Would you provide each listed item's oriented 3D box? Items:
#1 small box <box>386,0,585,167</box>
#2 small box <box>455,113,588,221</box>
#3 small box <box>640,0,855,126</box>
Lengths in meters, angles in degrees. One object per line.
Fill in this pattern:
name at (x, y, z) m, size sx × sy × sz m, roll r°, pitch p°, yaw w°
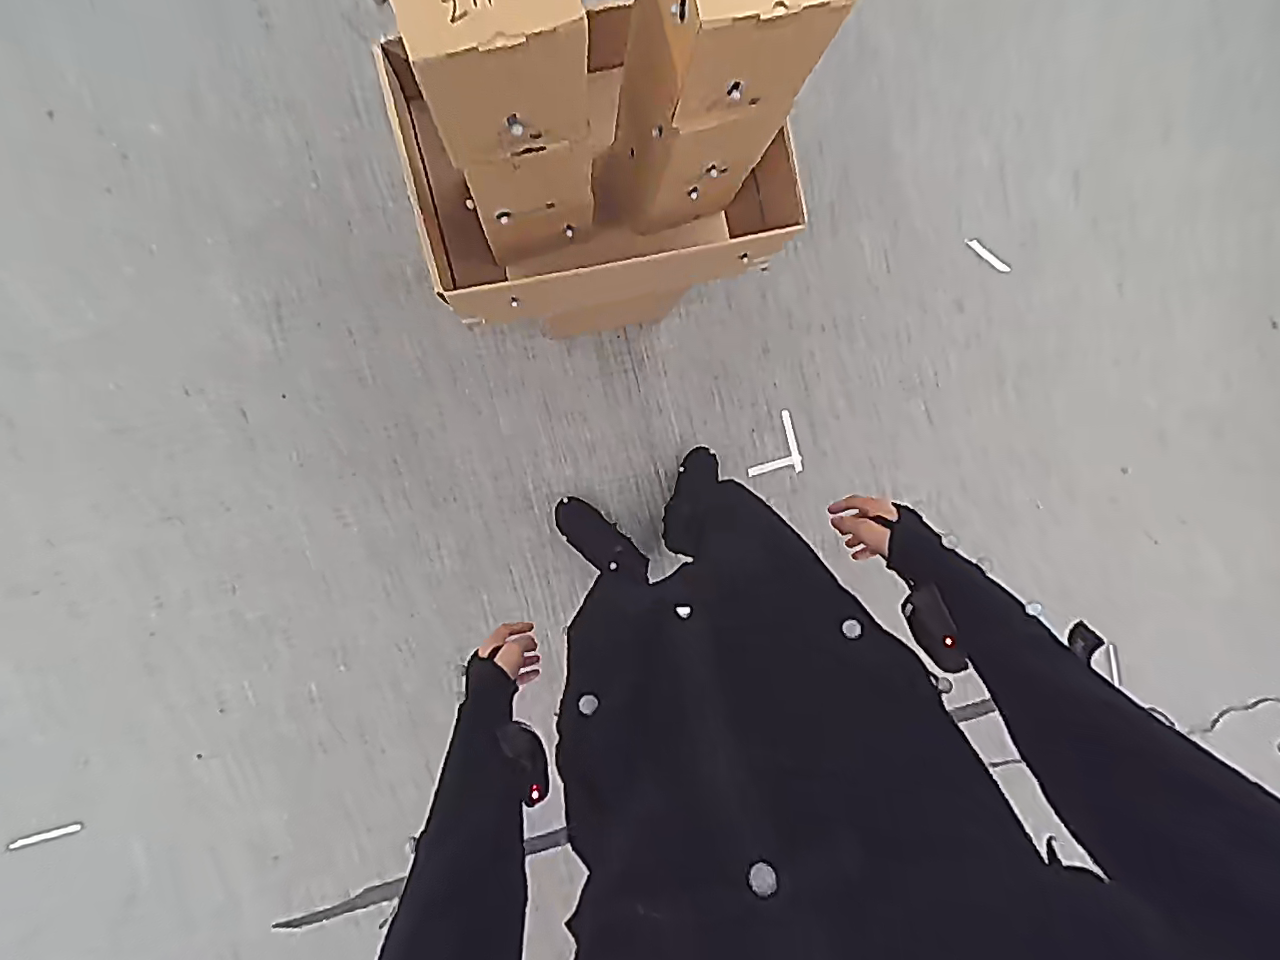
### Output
small box at (-0.163, -0.469, 0.558) m, size 0.168 × 0.176 × 0.179 m, roll -19°, pitch 94°, yaw -6°
small box at (-0.171, -0.472, 0.724) m, size 0.168 × 0.176 × 0.179 m, roll -18°, pitch 93°, yaw -6°
small box at (0.101, -0.533, 0.590) m, size 0.168 × 0.176 × 0.179 m, roll -15°, pitch 96°, yaw -6°
